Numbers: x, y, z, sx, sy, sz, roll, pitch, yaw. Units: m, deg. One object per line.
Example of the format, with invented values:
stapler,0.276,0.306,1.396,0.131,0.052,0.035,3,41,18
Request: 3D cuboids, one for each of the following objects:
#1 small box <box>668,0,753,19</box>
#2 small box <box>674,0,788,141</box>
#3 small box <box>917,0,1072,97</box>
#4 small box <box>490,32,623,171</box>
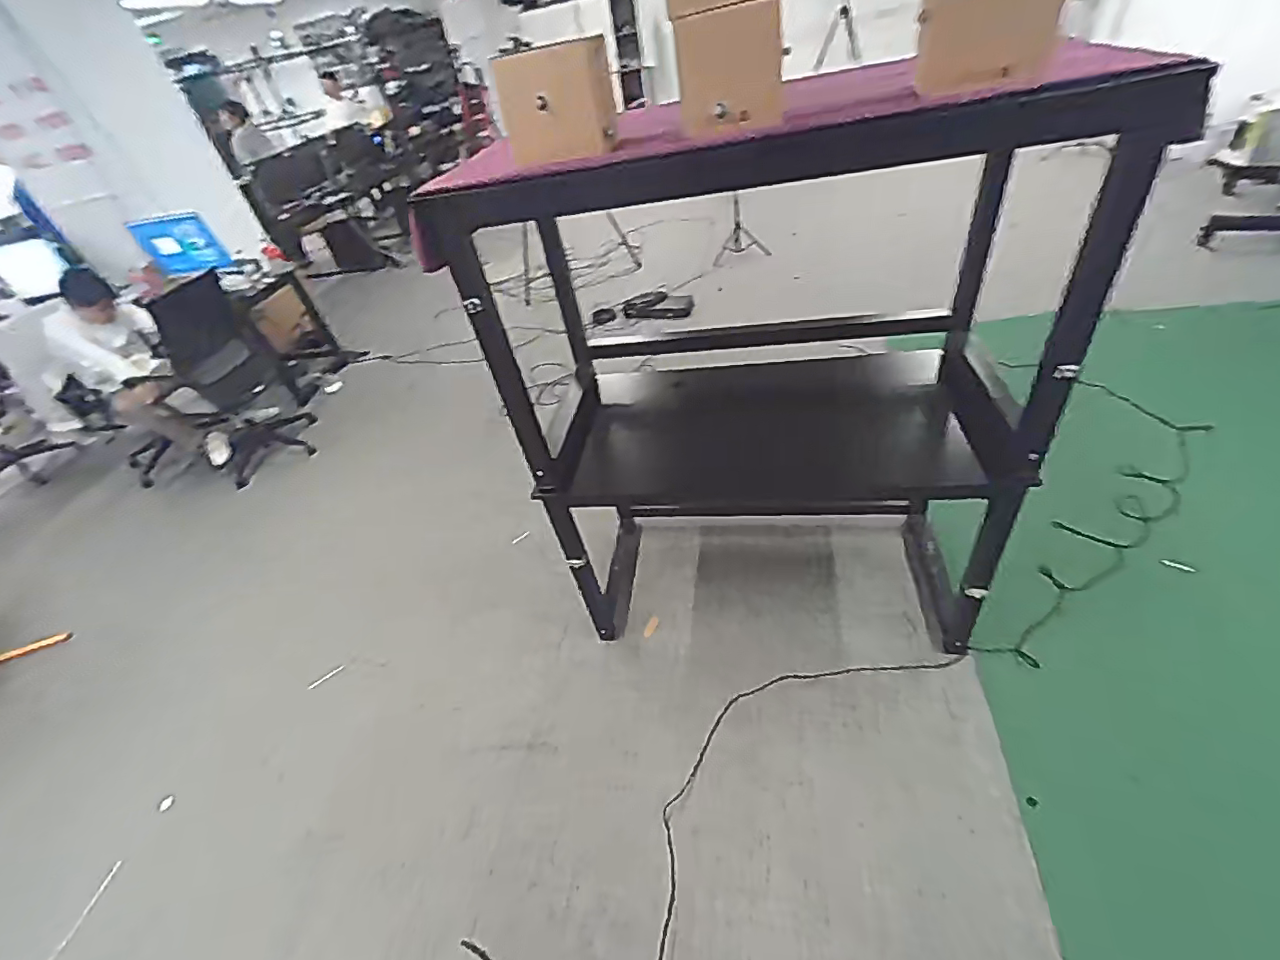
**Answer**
small box,0.126,-0.808,0.801,0.179,0.176,0.168,-1,41,16
small box,0.160,-0.688,0.908,0.168,0.176,0.179,-1,42,16
small box,0.531,-0.703,0.821,0.168,0.176,0.179,0,42,17
small box,-0.138,-0.685,0.983,0.179,0.176,0.168,-2,41,14
